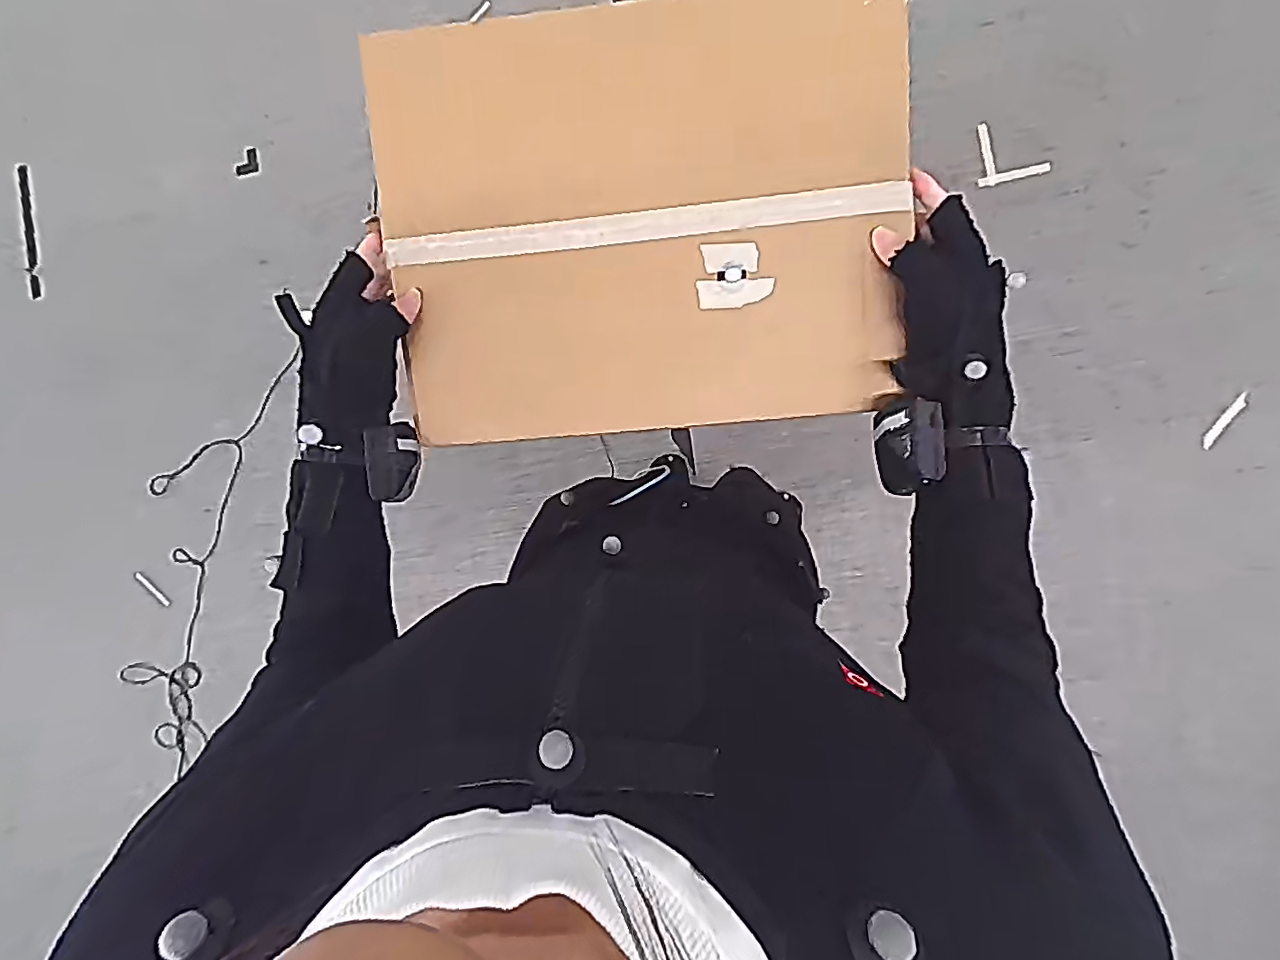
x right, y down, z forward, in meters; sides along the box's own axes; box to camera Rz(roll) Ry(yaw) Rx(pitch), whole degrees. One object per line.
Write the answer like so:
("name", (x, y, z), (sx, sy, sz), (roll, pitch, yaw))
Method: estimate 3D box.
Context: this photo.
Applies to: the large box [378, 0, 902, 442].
("large box", (0.009, -0.223, 0.581), (0.408, 0.320, 0.320), (-5, 99, 4))
